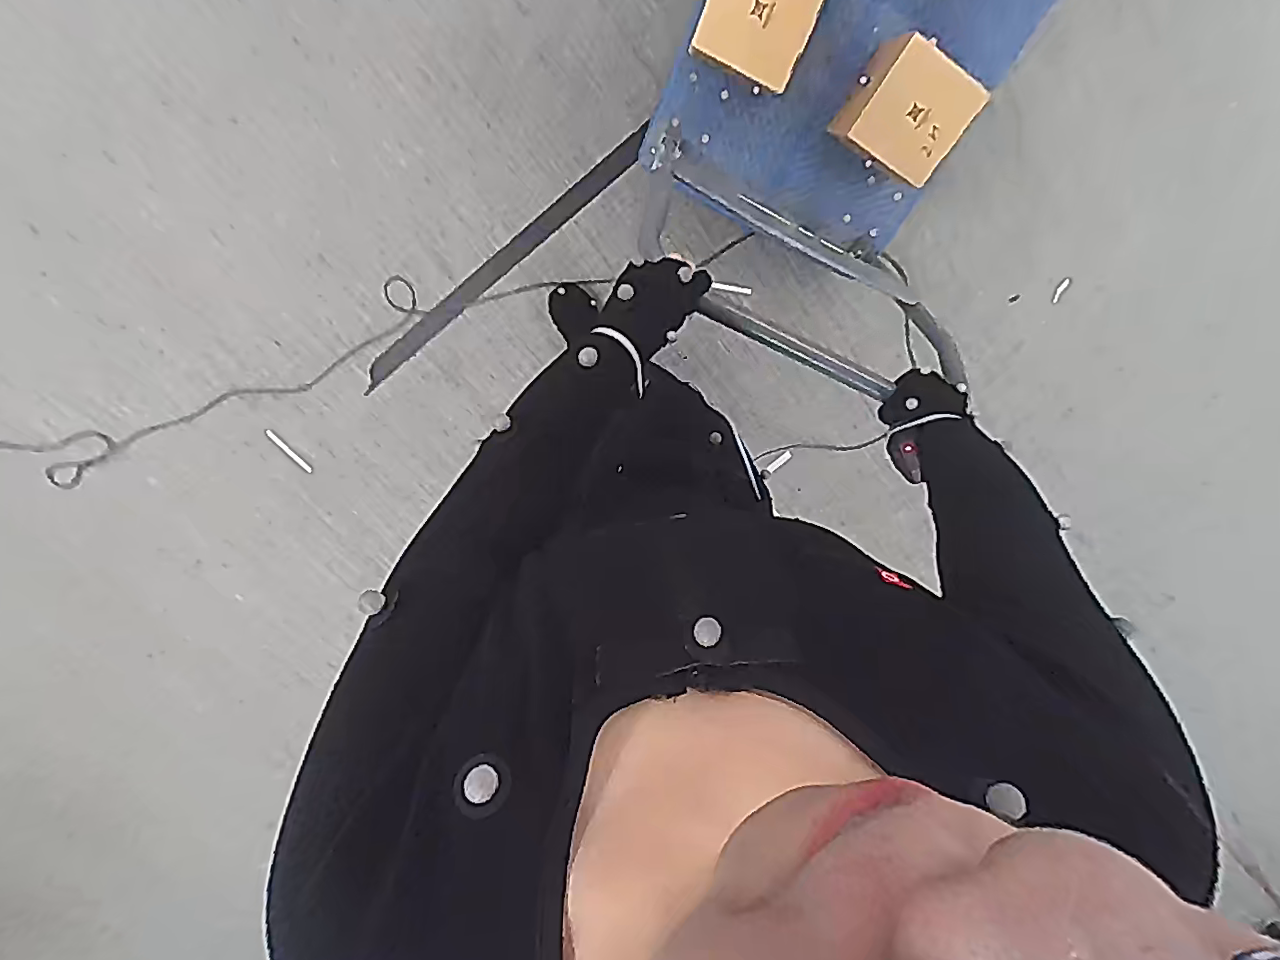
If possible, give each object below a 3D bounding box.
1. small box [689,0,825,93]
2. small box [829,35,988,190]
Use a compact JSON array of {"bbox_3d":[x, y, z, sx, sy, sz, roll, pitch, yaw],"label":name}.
[{"bbox_3d":[0.194,-0.792,0.929,0.179,0.176,0.168,19,124,-12],"label":"small box"},{"bbox_3d":[0.479,-0.670,0.999,0.179,0.176,0.168,26,123,-15],"label":"small box"}]
